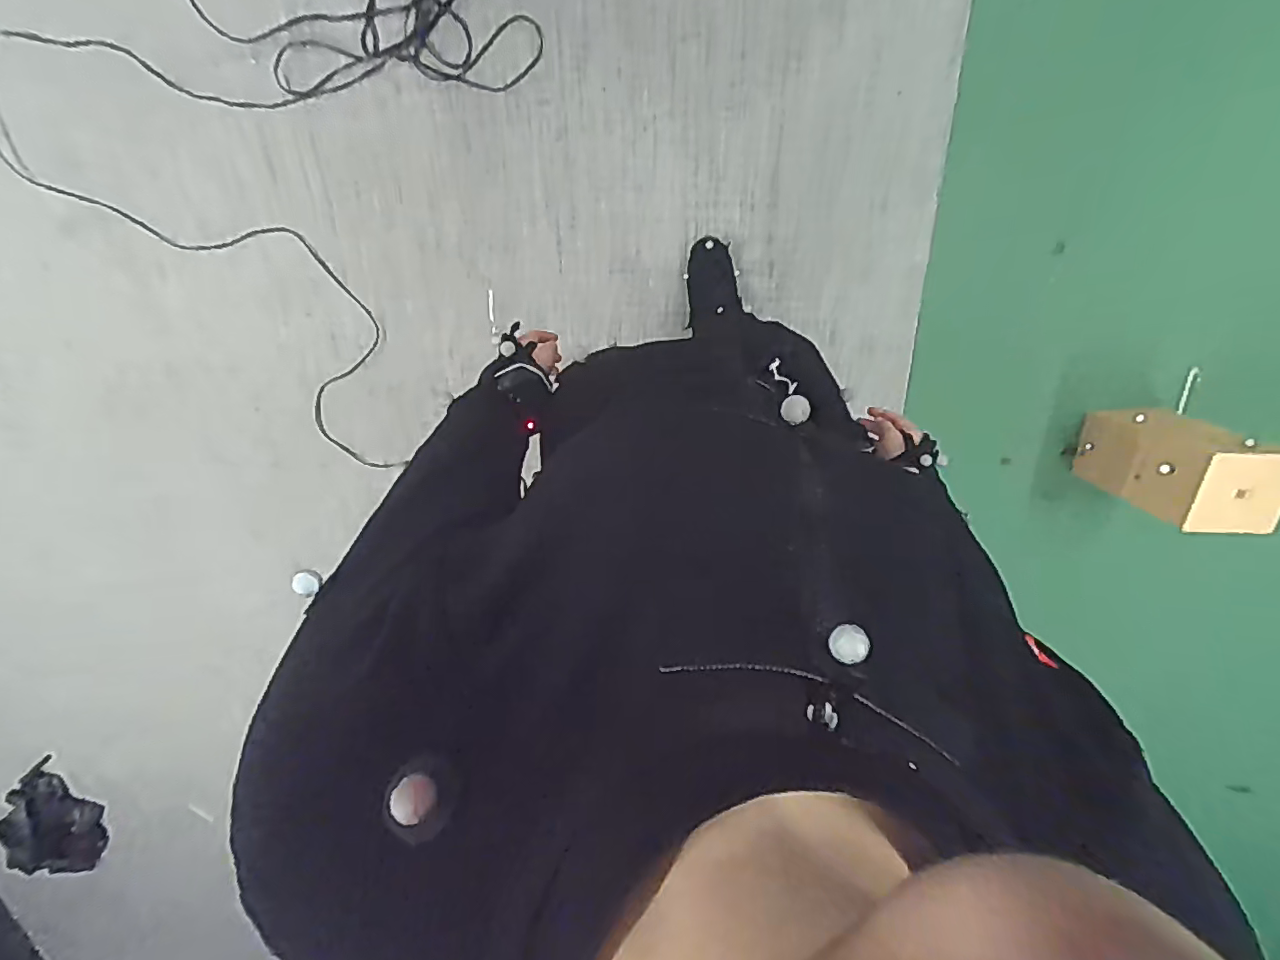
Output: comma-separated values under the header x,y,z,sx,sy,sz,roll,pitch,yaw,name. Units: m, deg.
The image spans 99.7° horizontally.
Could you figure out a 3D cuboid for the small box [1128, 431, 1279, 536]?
x,y,z,sx,sy,sz,roll,pitch,yaw,name
1.162,0.001,1.100,0.179,0.176,0.168,1,111,2,small box
